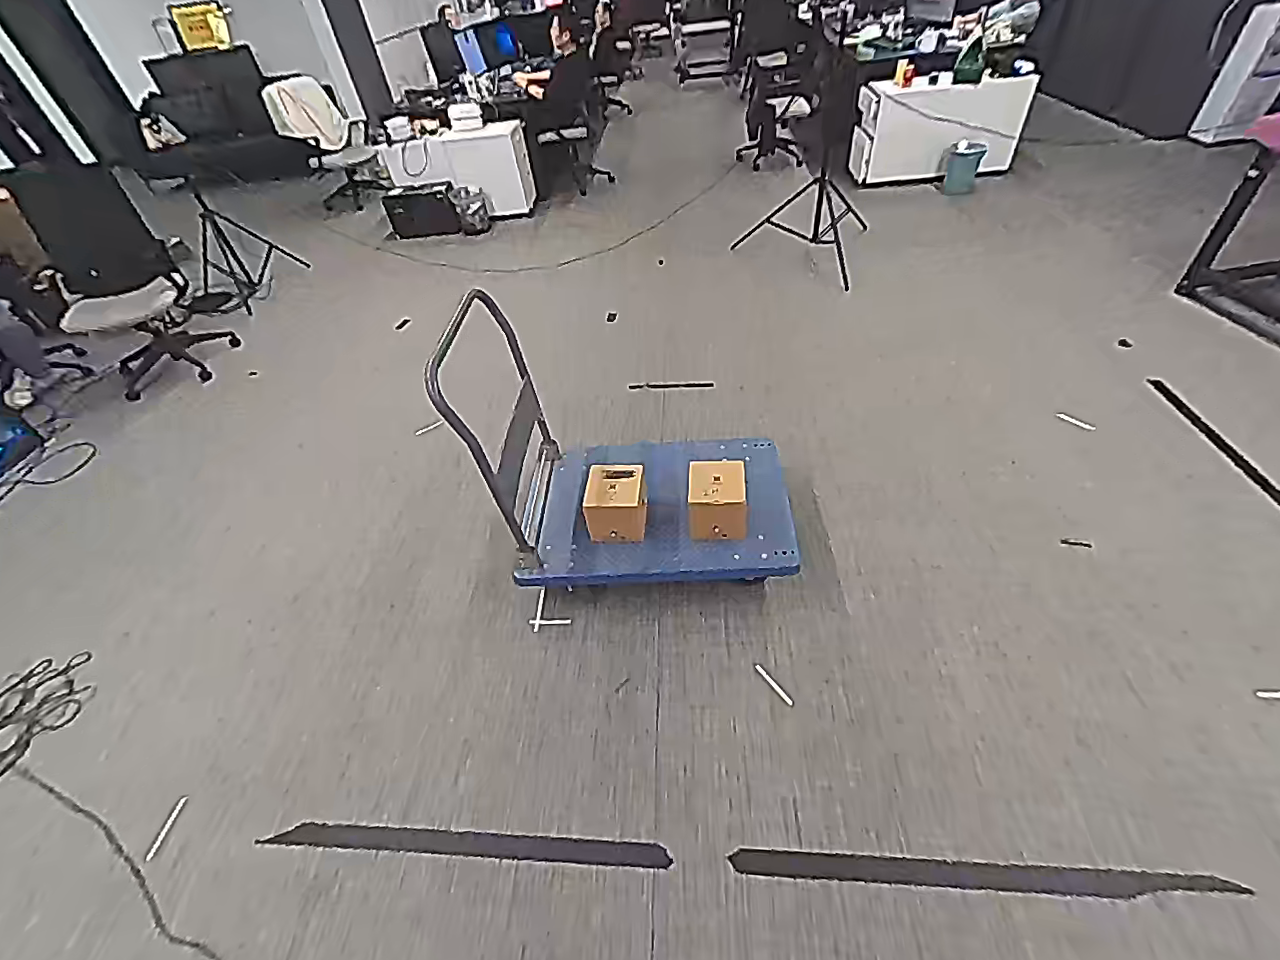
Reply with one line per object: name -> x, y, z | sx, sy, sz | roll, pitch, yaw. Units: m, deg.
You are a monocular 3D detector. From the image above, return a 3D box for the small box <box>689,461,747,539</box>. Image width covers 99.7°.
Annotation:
small box -> 0.237, 0.060, 1.651 | 0.168, 0.176, 0.179 | -1, 45, 9
